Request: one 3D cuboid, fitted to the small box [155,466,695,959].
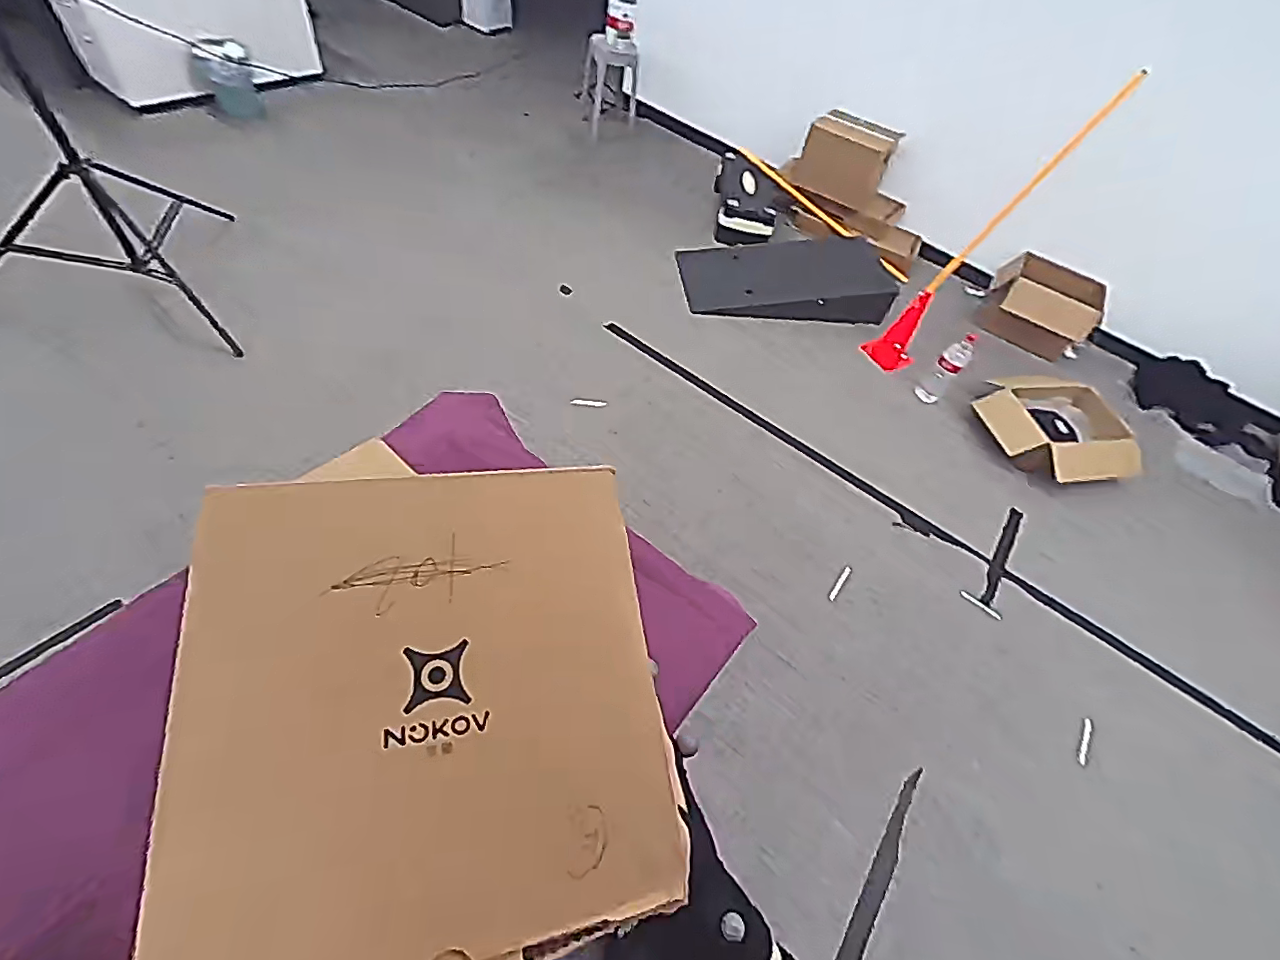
[{"bbox_3d":[-0.091,0.109,0.271,0.168,0.176,0.179,-3,66,-19],"label":"small box"}]
